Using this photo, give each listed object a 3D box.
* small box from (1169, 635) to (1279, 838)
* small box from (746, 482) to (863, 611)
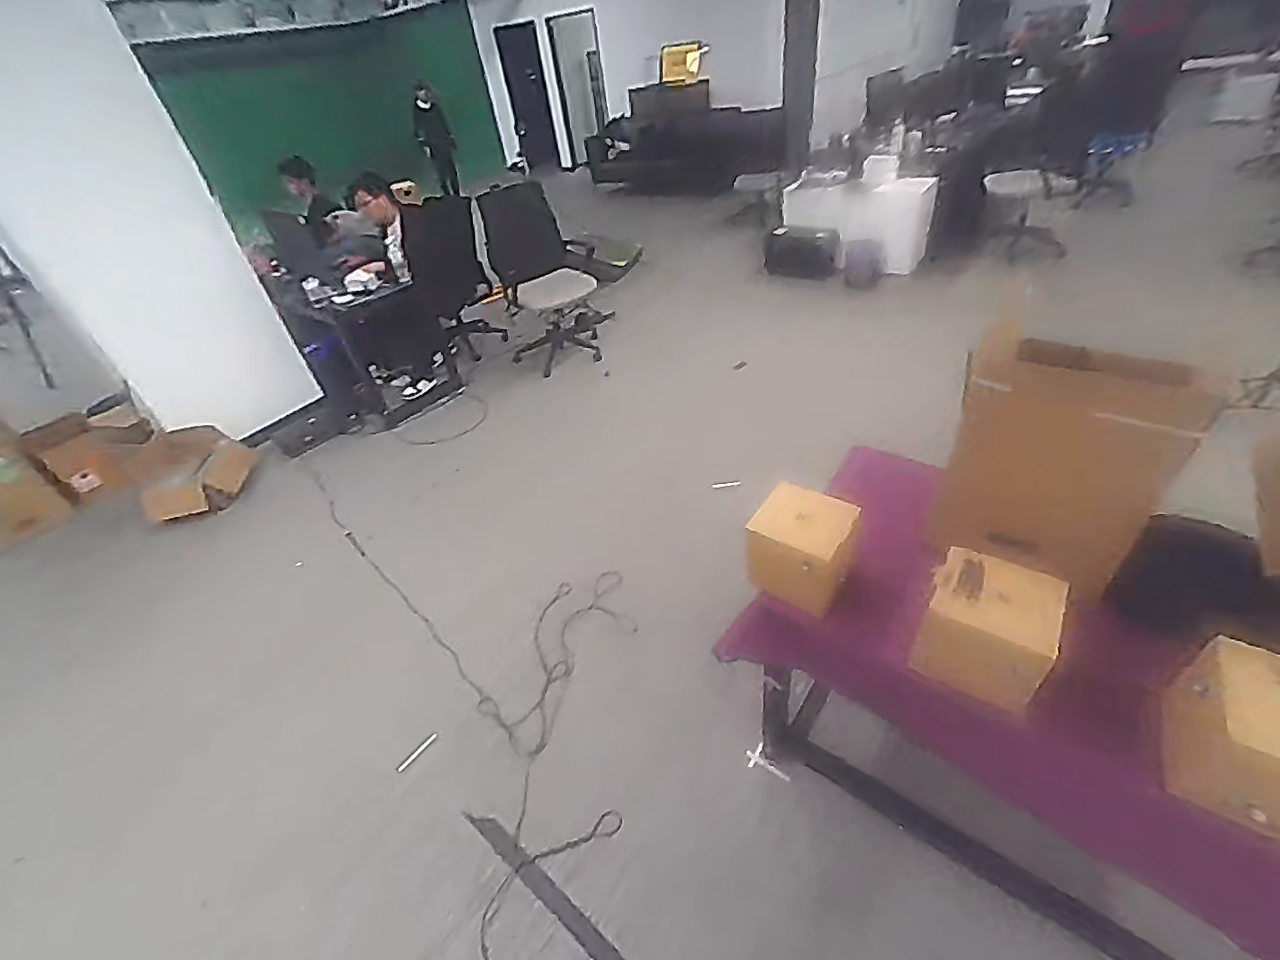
[{"bbox_3d":[0.857,0.353,0.728,0.168,0.176,0.179,18,47,31],"label":"small box"},{"bbox_3d":[0.331,0.136,1.107,0.179,0.176,0.168,22,48,31],"label":"small box"}]
